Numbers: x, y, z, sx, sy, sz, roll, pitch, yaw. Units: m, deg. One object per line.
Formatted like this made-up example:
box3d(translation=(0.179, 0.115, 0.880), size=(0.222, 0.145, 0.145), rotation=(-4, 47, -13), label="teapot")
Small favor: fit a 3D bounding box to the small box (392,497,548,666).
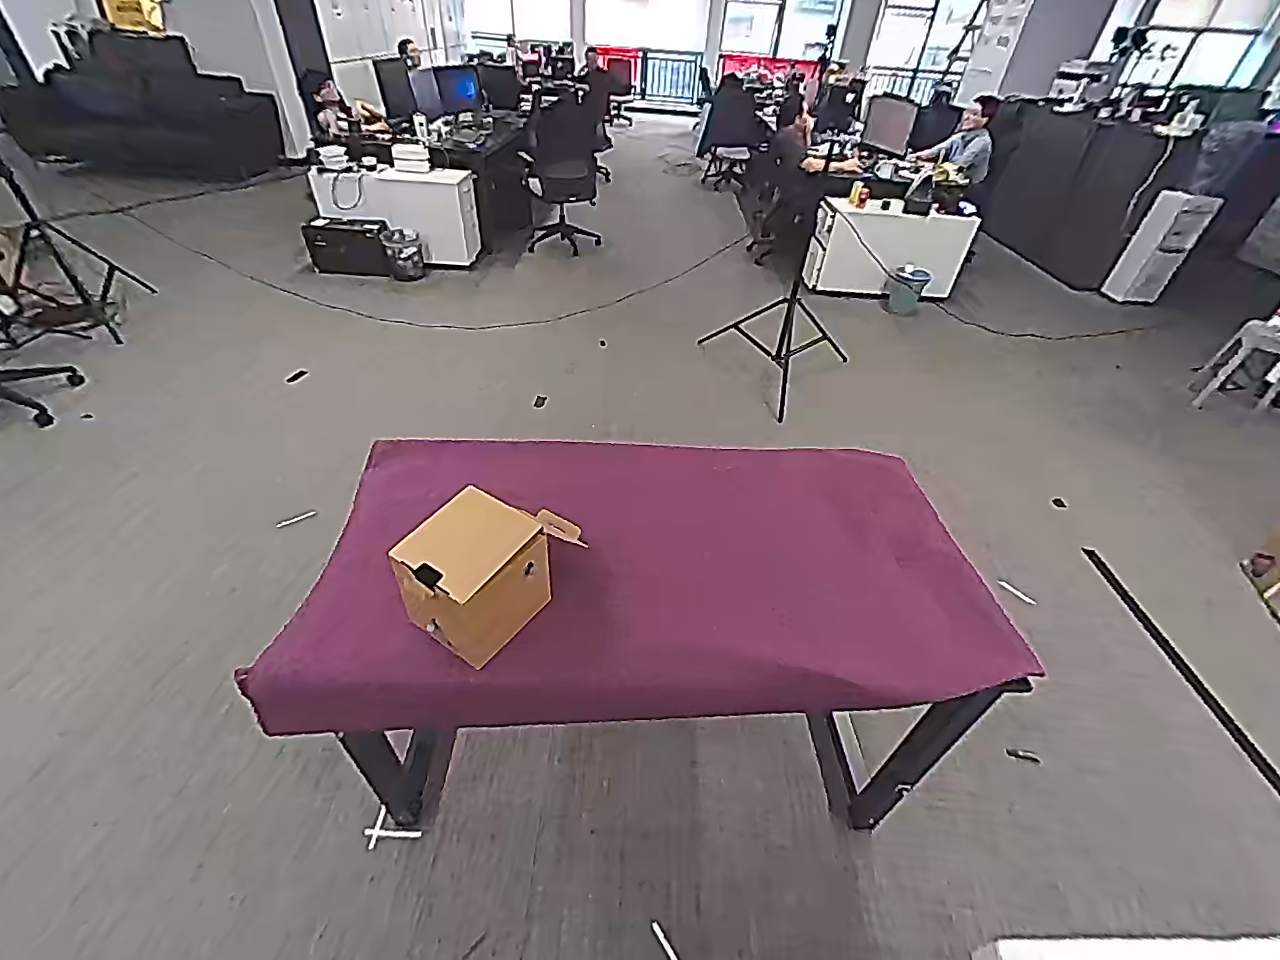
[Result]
box3d(translation=(-0.268, 0.164, 0.889), size=(0.168, 0.176, 0.179), rotation=(24, 43, 24), label="small box")
